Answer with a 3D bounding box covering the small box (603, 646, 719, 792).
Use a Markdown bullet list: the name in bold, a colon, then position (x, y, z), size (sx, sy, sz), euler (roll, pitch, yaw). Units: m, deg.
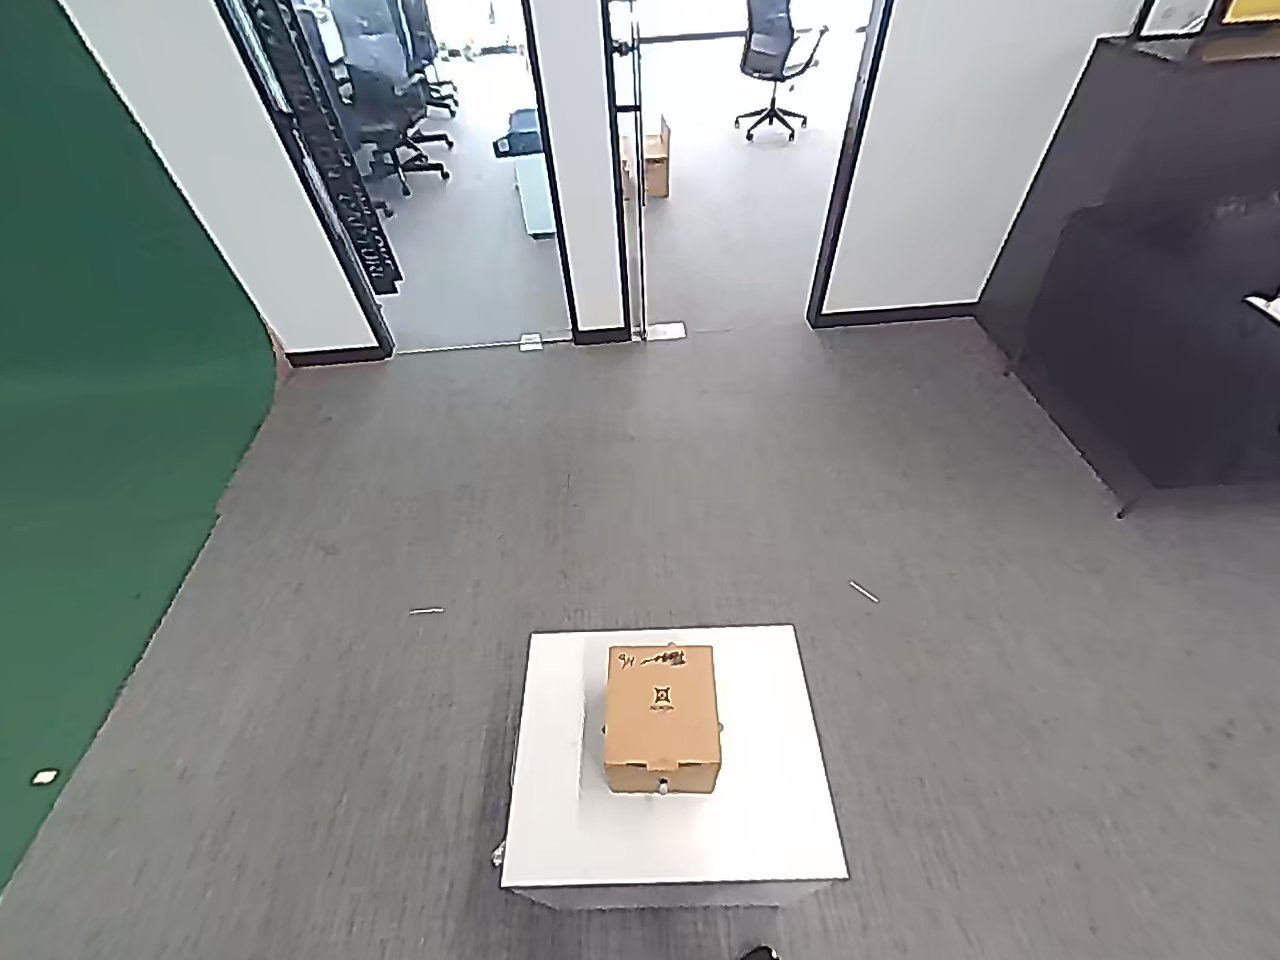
- **small box**: position (0.033, 0.385, 0.860), size (0.168, 0.176, 0.179), euler (-2, 48, 1)
